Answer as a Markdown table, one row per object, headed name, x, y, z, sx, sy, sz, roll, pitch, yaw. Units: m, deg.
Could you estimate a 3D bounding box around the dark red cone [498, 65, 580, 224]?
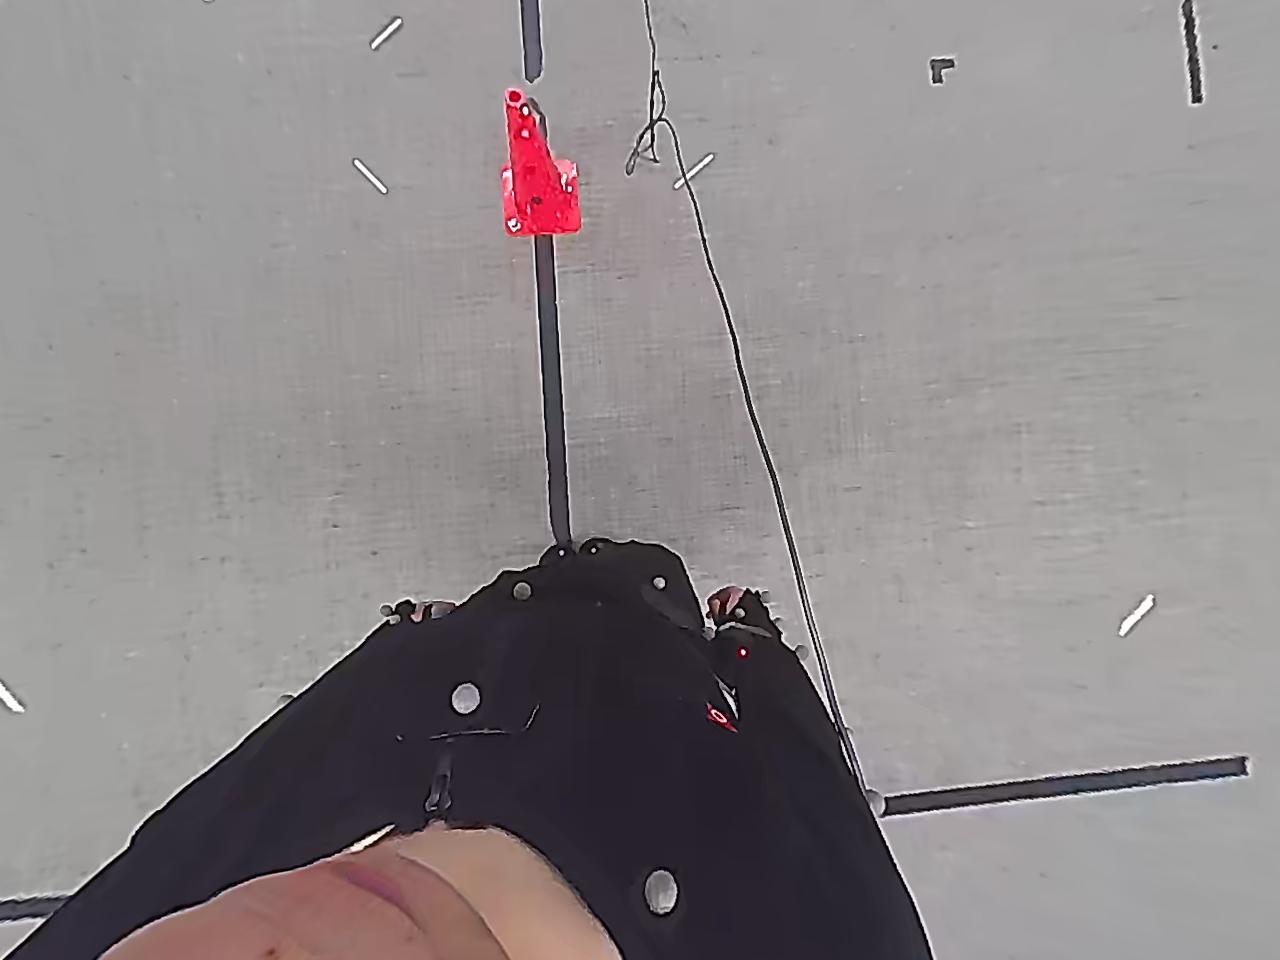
| name | x | y | z | sx | sy | sz | roll | pitch | yaw |
| --- | --- | --- | --- | --- | --- | --- | --- | --- | --- |
| dark red cone | -0.252 | -0.769 | 1.237 | 0.201 | 0.394 | 0.202 | -5 | 87 | -3 |
